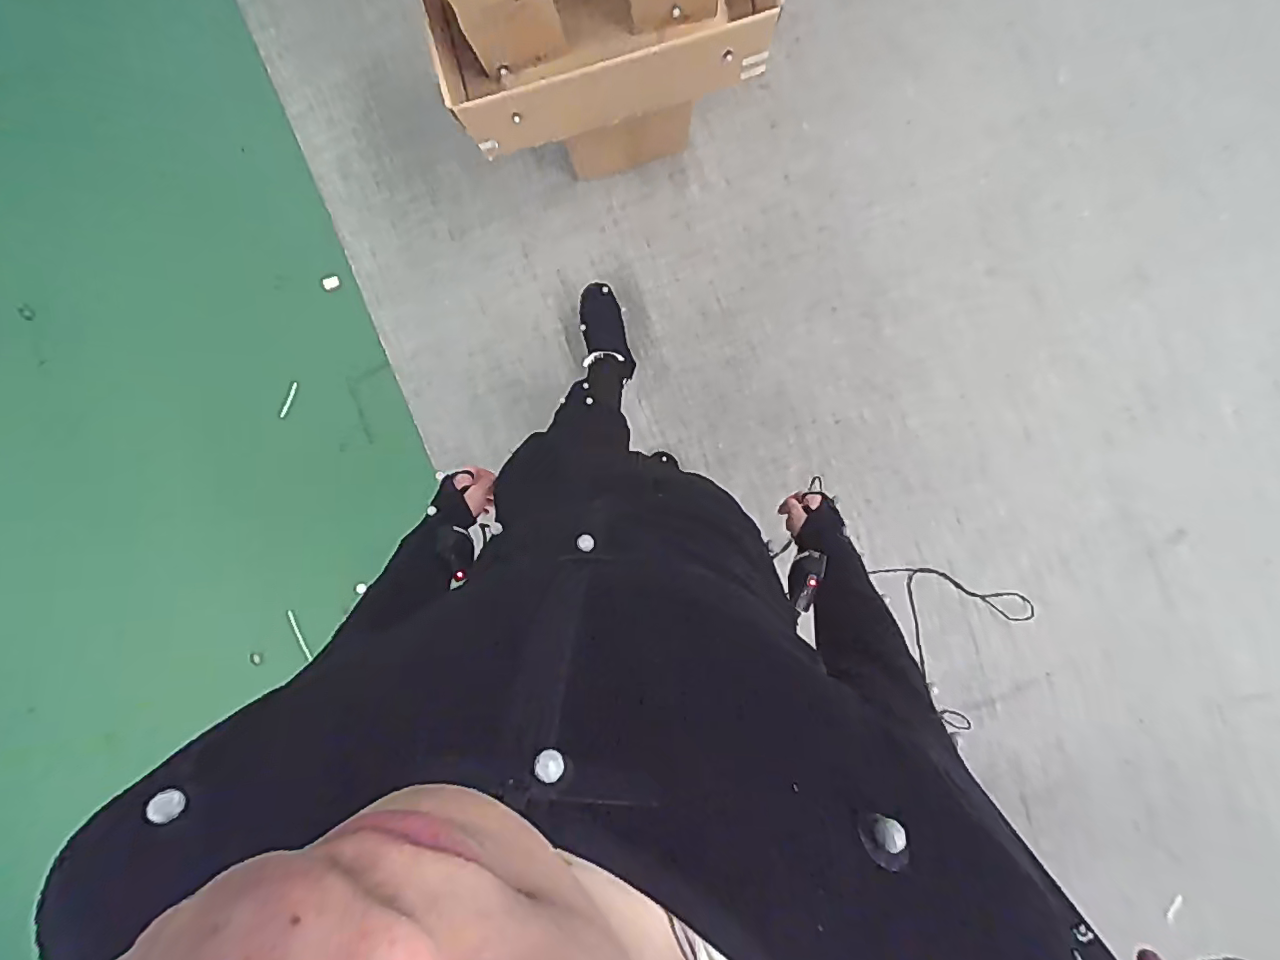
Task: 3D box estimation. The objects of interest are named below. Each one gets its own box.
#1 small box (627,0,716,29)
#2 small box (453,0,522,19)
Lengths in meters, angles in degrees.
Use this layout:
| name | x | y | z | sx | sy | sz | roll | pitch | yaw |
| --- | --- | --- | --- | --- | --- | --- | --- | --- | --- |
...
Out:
| name | x | y | z | sx | sy | sz | roll | pitch | yaw |
| --- | --- | --- | --- | --- | --- | --- | --- | --- | --- |
| small box | 0.047 | -0.947 | 0.942 | 0.168 | 0.176 | 0.179 | -9 | 99 | 5 |
| small box | -0.250 | -0.856 | 0.806 | 0.168 | 0.176 | 0.179 | -16 | 98 | 6 |
